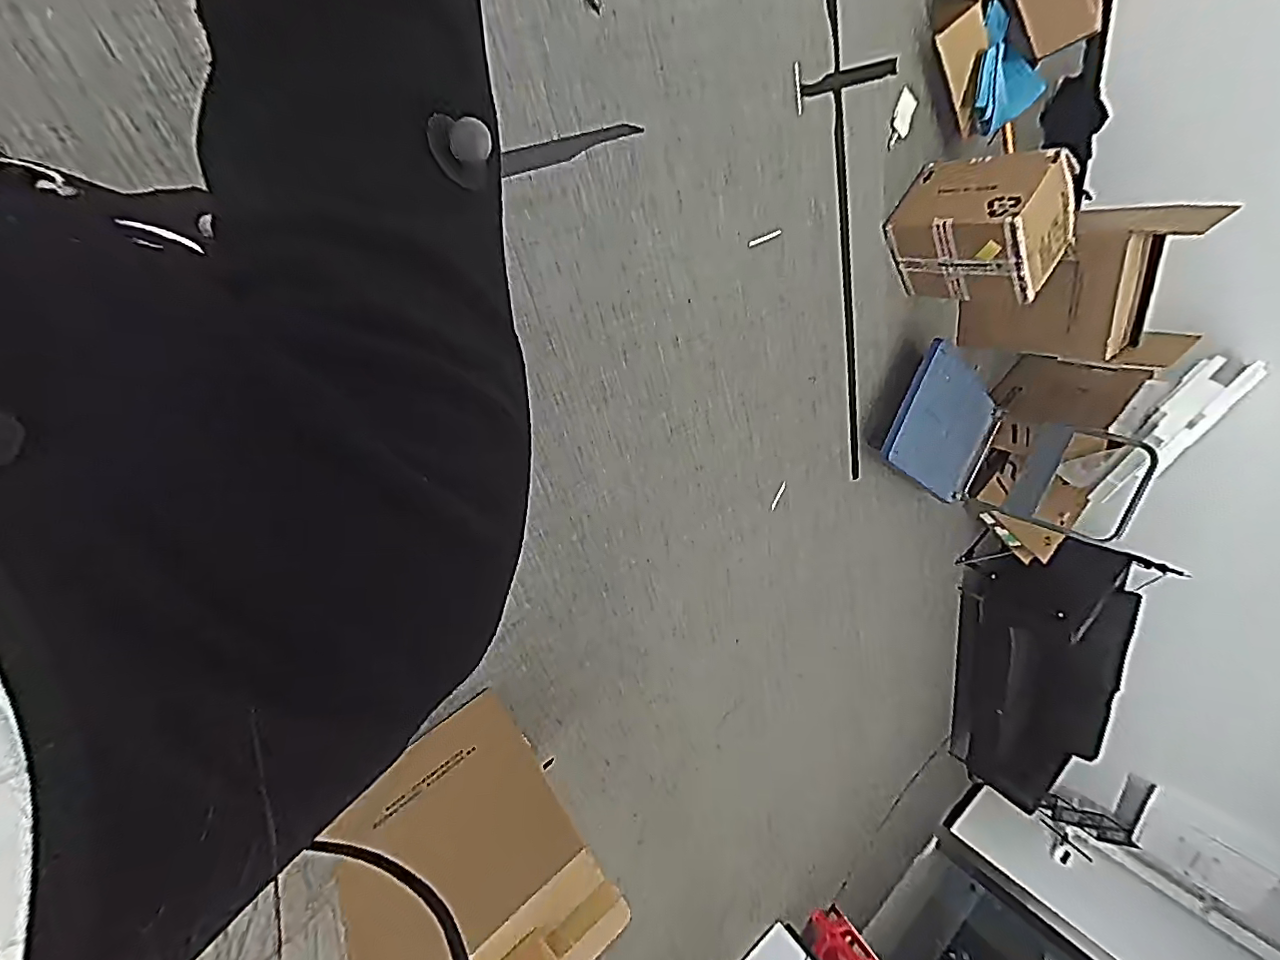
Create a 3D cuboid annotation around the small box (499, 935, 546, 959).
[{"bbox_3d":[-0.256,1.136,1.142,0.179,0.176,0.168,-30,123,-26],"label":"small box"}]
